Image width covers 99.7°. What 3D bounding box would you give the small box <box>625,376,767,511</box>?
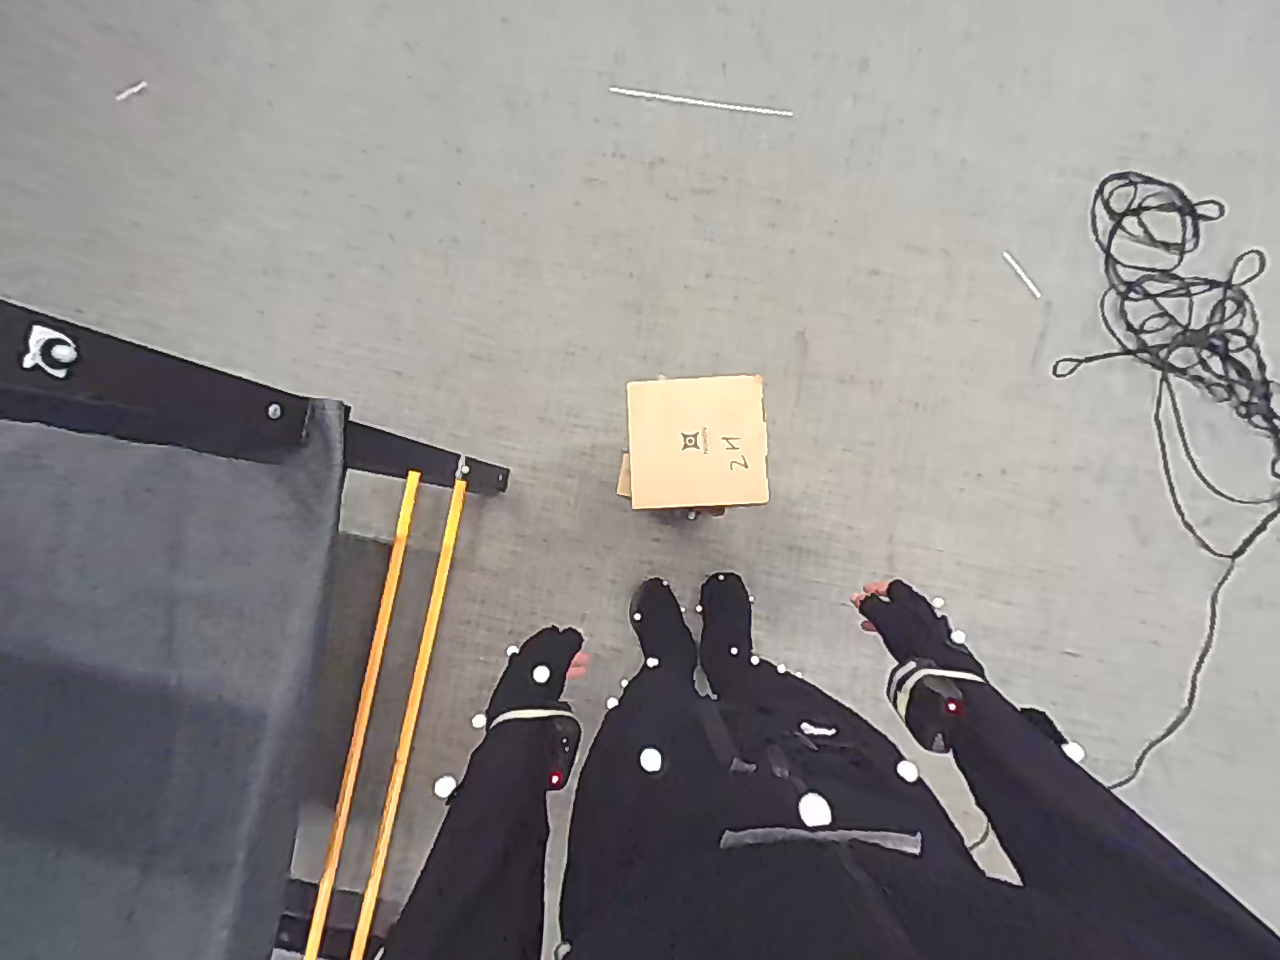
[{"bbox_3d":[0.075,-0.042,0.760,0.179,0.176,0.168,-2,87,3],"label":"small box"}]
